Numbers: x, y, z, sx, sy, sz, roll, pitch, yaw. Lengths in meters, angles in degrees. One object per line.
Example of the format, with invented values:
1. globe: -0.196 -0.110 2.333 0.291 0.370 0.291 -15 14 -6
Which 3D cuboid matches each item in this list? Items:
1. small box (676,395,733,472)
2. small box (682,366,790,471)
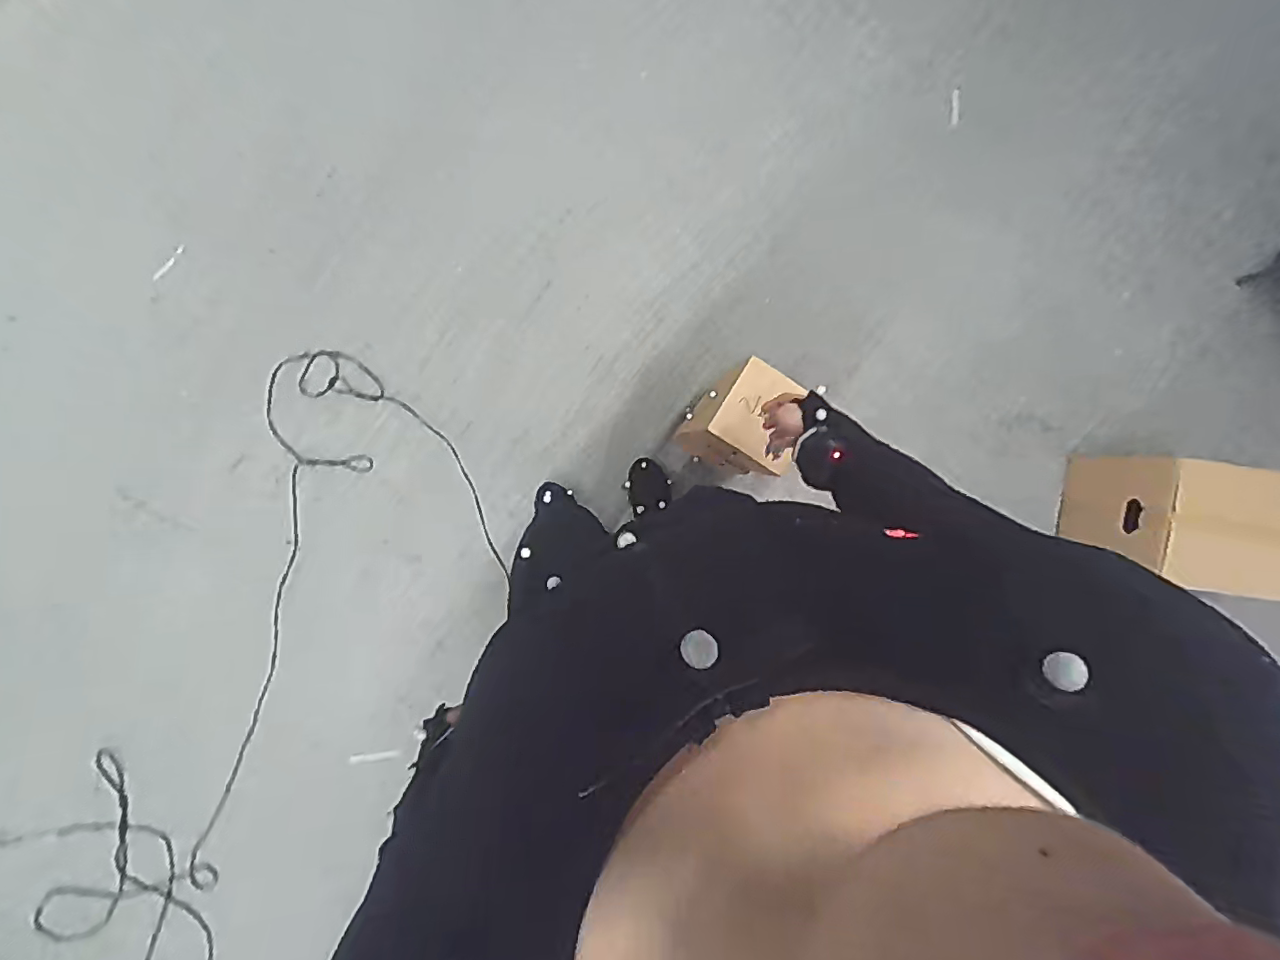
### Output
1. small box: 0.210 -0.139 1.428 0.168 0.176 0.179 38 90 -5
2. small box: 0.213 -0.137 1.265 0.168 0.176 0.179 35 88 -6
